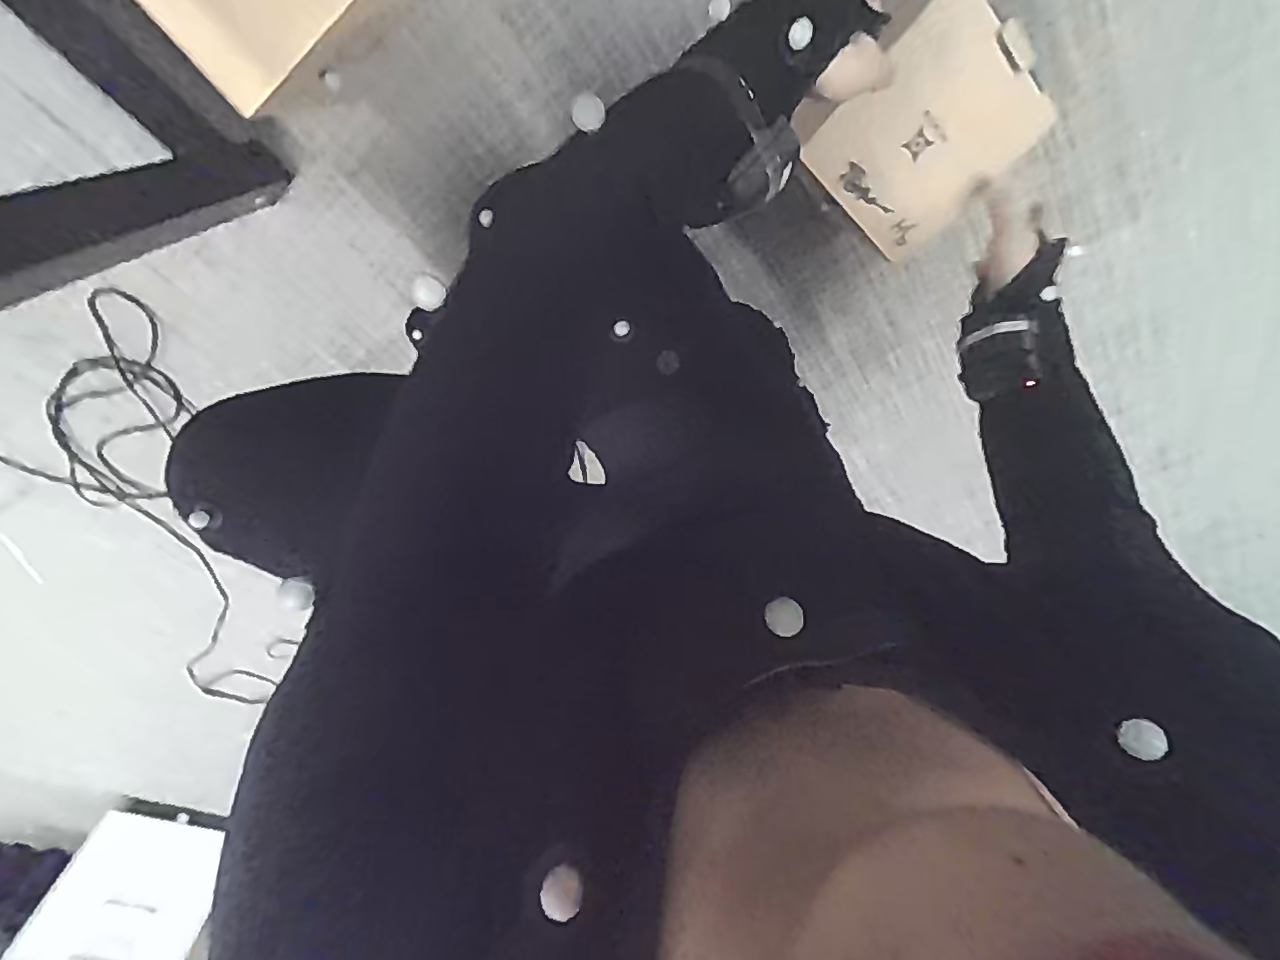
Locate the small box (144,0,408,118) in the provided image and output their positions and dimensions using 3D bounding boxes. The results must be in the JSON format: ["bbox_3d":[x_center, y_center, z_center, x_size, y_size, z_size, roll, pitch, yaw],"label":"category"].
[{"bbox_3d":[-0.334,-0.476,0.484,0.168,0.176,0.179,-30,127,22],"label":"small box"}]
